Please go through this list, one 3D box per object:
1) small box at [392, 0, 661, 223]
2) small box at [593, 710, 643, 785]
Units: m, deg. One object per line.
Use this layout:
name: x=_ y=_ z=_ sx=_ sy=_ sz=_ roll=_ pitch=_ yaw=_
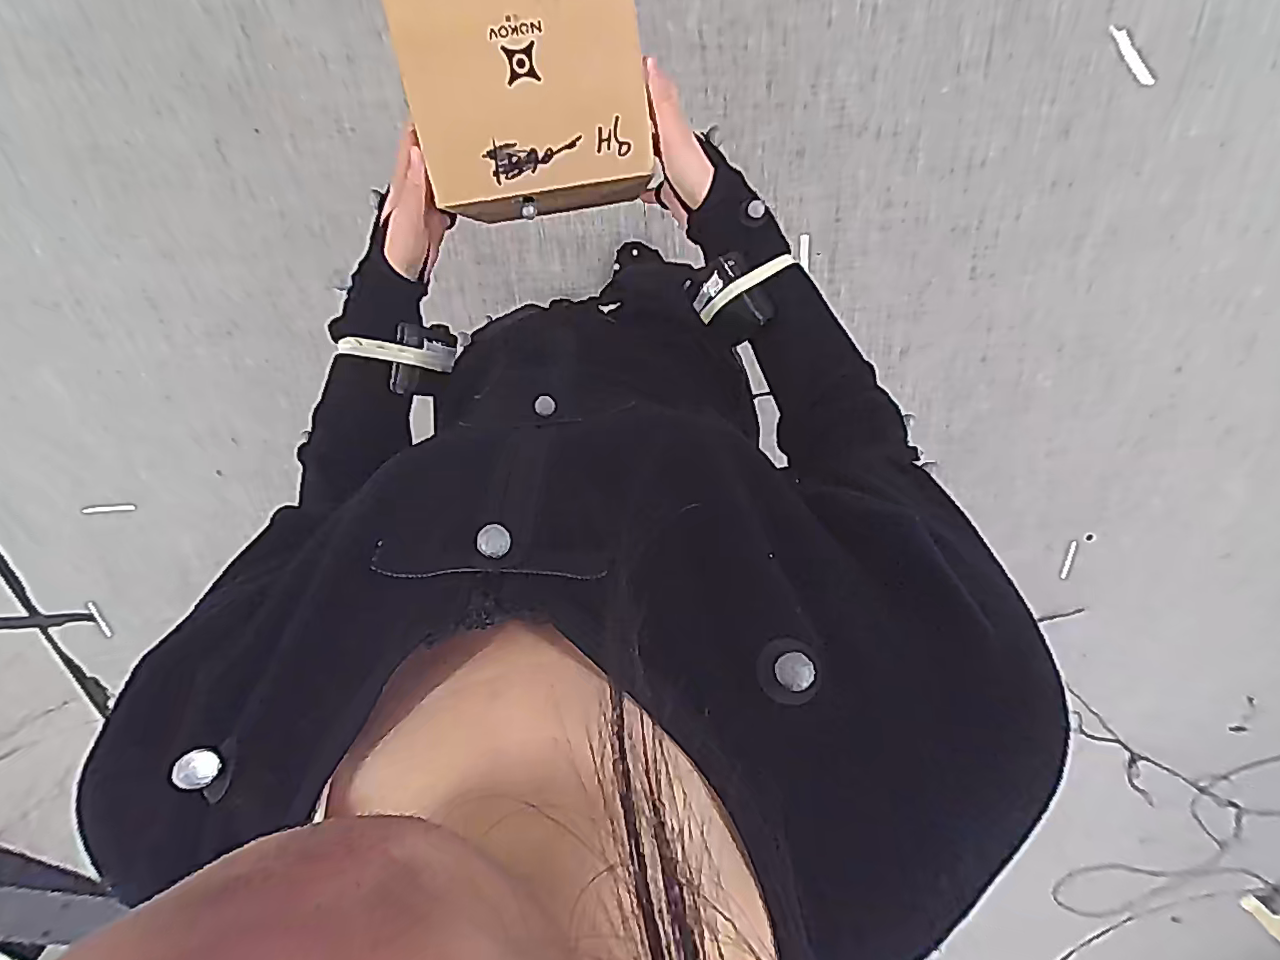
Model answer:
small box: x=-0.083 y=-0.321 z=0.438 sx=0.168 sy=0.176 sz=0.179 roll=-10 pitch=112 yaw=-1
small box: x=-0.075 y=0.957 z=1.939 sx=0.168 sy=0.176 sz=0.179 roll=-5 pitch=114 yaw=1
